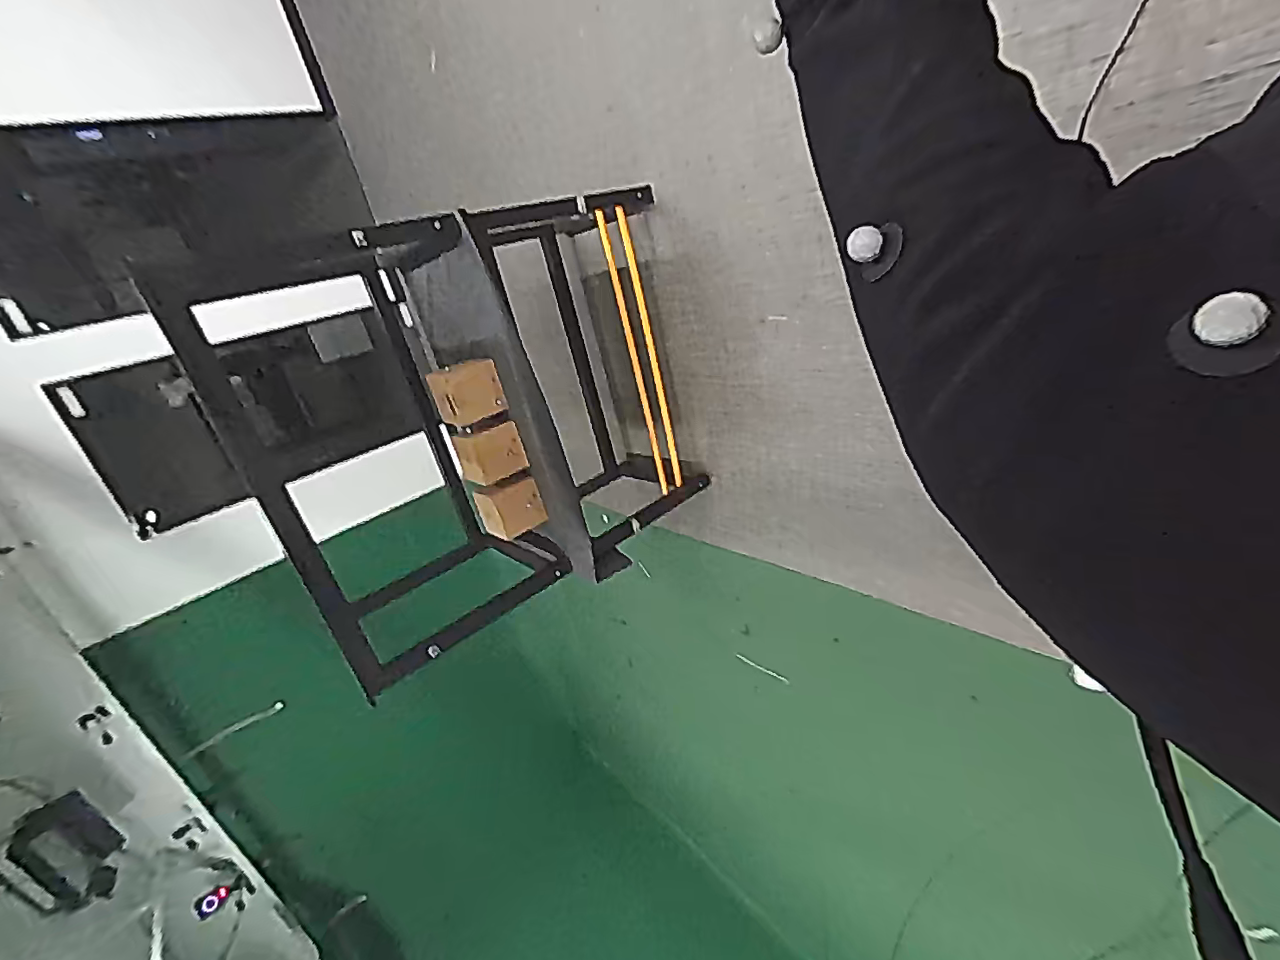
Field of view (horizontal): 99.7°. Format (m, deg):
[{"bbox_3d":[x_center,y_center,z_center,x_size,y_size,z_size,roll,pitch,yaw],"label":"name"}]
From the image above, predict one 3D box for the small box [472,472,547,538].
[{"bbox_3d":[-0.454,0.080,1.893,0.179,0.176,0.168,10,122,50],"label":"small box"}]
